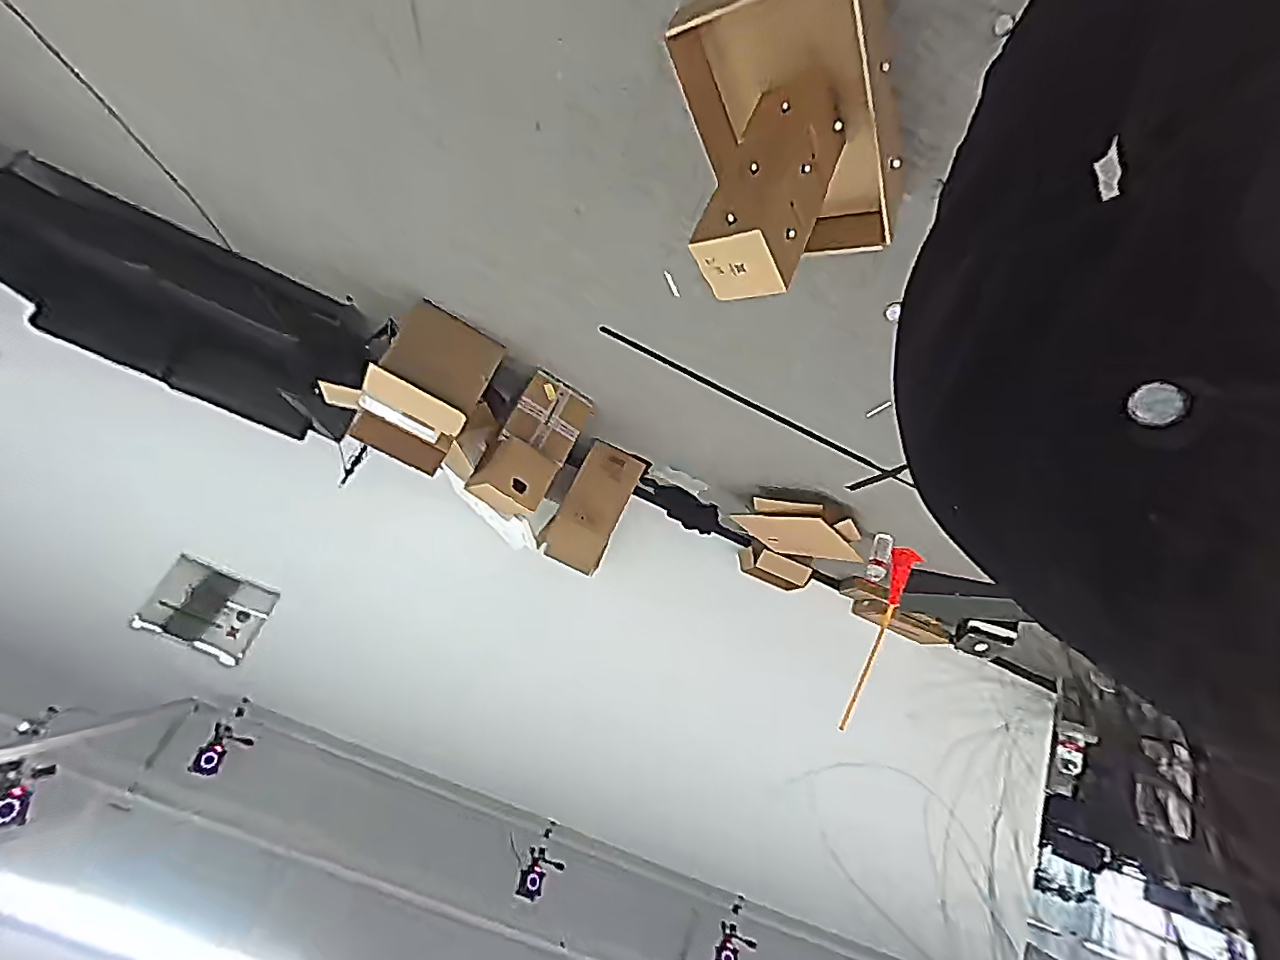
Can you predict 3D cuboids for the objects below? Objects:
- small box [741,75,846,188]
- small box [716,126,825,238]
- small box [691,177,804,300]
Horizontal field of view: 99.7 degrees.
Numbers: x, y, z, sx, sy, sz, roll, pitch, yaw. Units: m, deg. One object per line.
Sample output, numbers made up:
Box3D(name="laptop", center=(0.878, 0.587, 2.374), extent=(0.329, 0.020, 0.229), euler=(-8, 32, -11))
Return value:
Box3D(name="small box", center=(0.368, -0.808, 1.282), extent=(0.179, 0.176, 0.168), euler=(9, 157, 35))
Box3D(name="small box", center=(0.307, -0.665, 1.237), extent=(0.179, 0.176, 0.168), euler=(9, 155, 40))
Box3D(name="small box", center=(0.243, -0.524, 1.178), extent=(0.179, 0.176, 0.168), euler=(7, 154, 39))
